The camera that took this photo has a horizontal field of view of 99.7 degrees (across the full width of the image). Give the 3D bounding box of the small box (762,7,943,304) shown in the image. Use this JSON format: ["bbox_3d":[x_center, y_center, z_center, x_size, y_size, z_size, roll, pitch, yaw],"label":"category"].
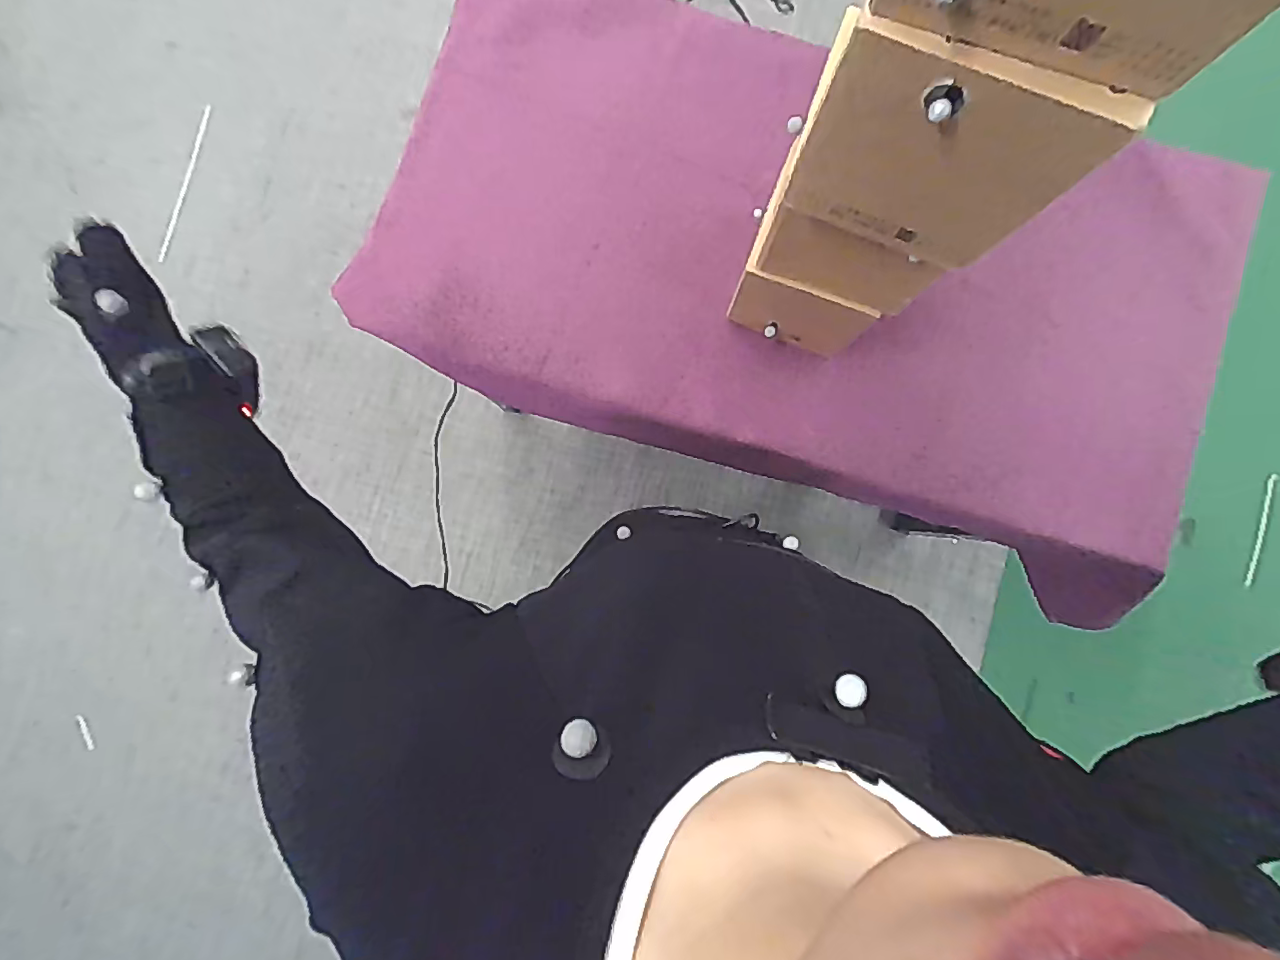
[{"bbox_3d":[0.238,-0.299,0.537,0.179,0.176,0.168,20,87,2],"label":"small box"}]

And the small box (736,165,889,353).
[{"bbox_3d":[0.234,-0.290,0.698,0.168,0.176,0.179,21,88,3],"label":"small box"}]

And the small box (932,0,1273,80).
[{"bbox_3d":[0.226,-0.310,0.209,0.168,0.176,0.179,18,86,2],"label":"small box"}]

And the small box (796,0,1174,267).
[{"bbox_3d":[0.228,-0.286,0.372,0.168,0.176,0.179,22,86,3],"label":"small box"}]
